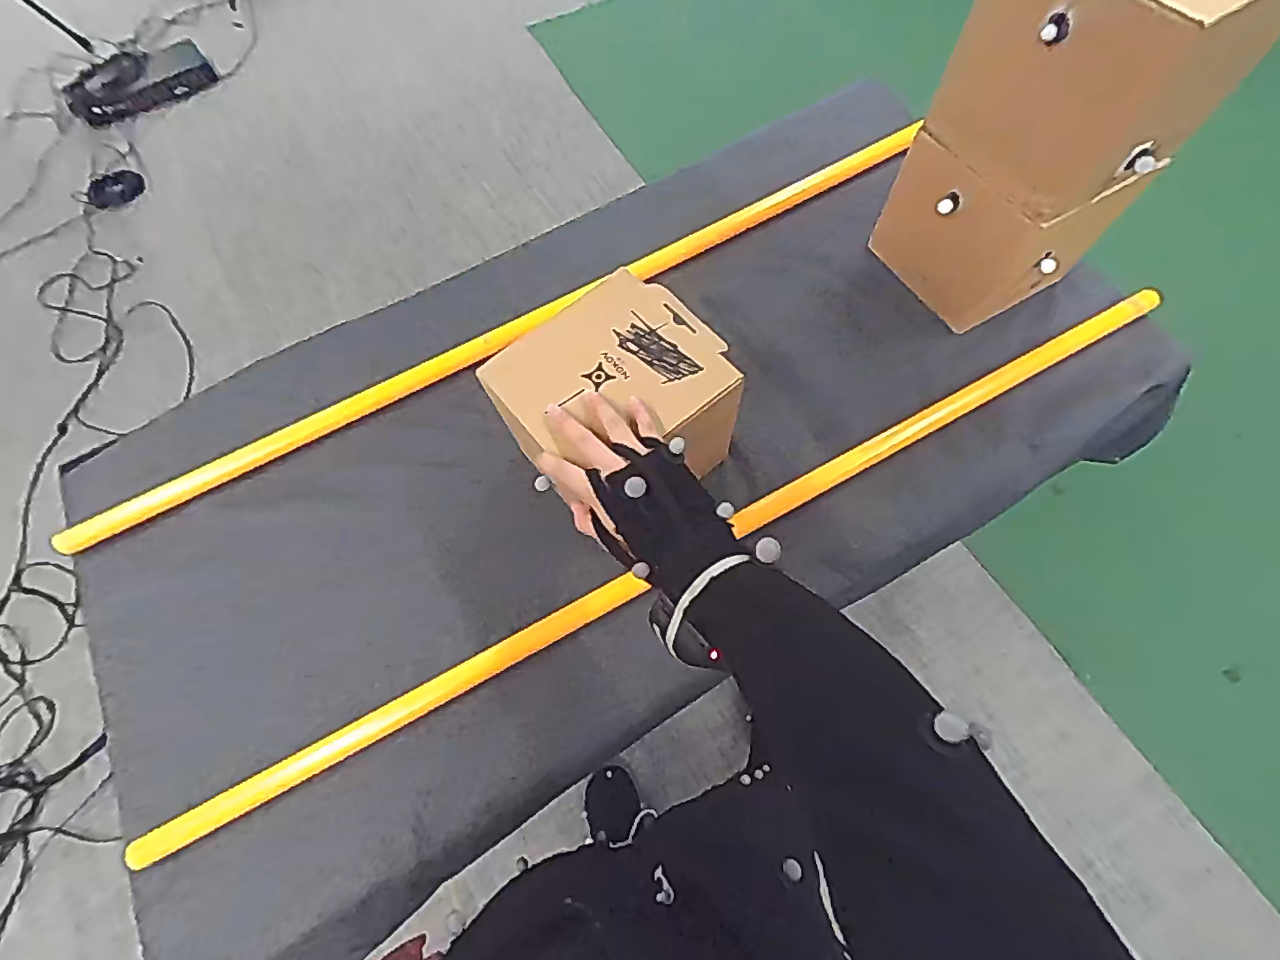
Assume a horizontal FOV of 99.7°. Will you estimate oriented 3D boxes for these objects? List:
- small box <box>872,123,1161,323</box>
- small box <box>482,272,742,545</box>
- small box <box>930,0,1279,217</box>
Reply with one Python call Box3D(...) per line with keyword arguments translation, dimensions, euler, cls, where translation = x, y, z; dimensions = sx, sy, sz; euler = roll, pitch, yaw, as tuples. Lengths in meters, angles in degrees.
Box3D(translation=(0.409, -0.310, 0.626), dimensions=(0.168, 0.176, 0.179), euler=(-29, 68, -8), cls="small box")
Box3D(translation=(-0.023, -0.063, 0.548), dimensions=(0.179, 0.176, 0.168), euler=(-38, 70, -11), cls="small box")
Box3D(translation=(0.402, -0.377, 0.478), dimensions=(0.168, 0.176, 0.179), euler=(-31, 69, -7), cls="small box")
